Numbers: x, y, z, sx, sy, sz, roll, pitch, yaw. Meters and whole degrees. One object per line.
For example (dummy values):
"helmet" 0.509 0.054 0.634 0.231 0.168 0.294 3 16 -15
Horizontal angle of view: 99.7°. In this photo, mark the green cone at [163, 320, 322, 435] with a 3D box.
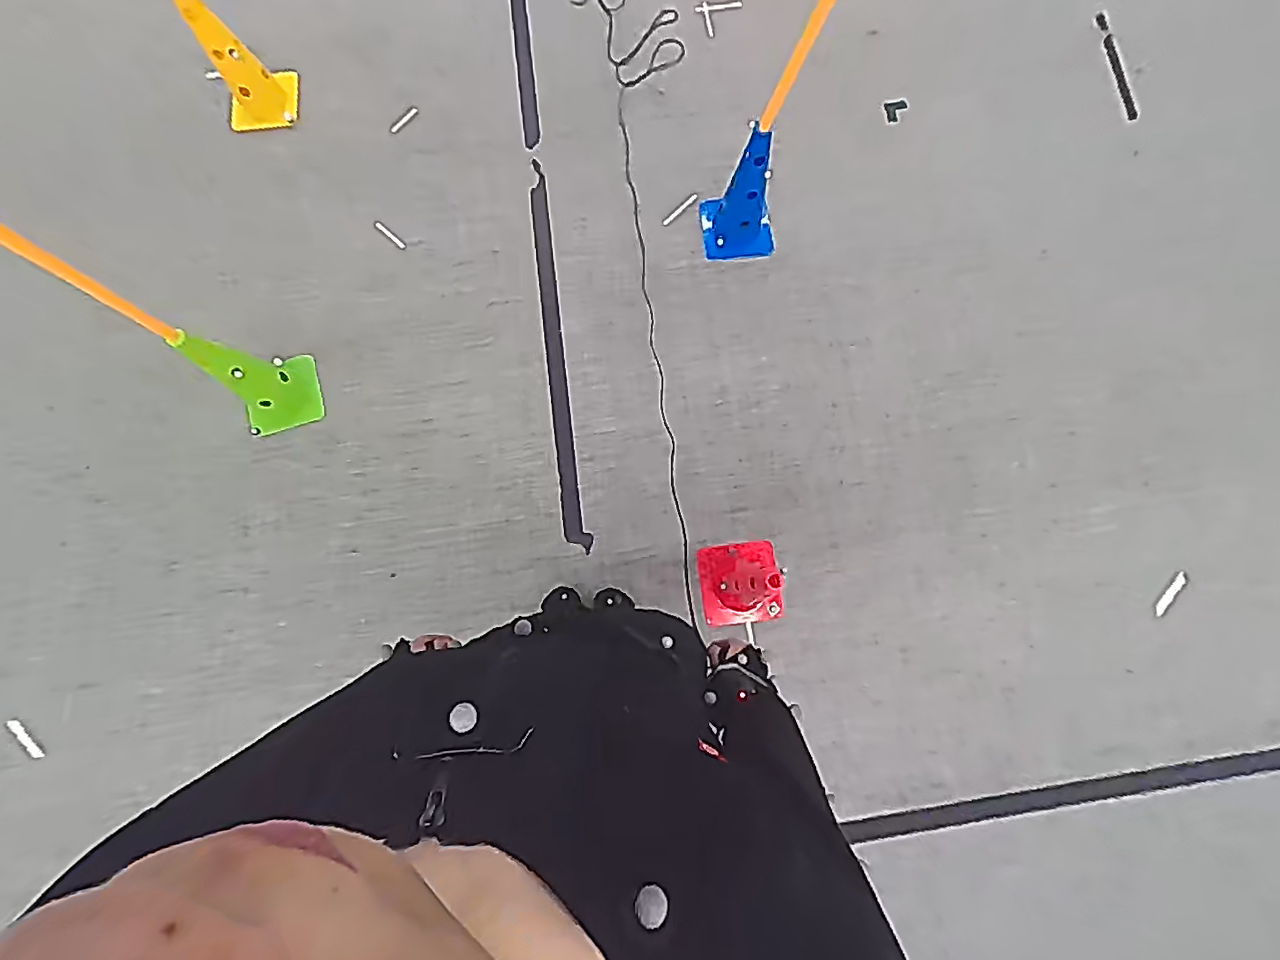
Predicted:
"green cone" -0.981 -0.275 1.314 0.200 0.368 0.202 -18 77 -4

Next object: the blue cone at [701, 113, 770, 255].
"blue cone" 0.281 -0.783 1.426 0.193 0.380 0.192 -5 78 -1
